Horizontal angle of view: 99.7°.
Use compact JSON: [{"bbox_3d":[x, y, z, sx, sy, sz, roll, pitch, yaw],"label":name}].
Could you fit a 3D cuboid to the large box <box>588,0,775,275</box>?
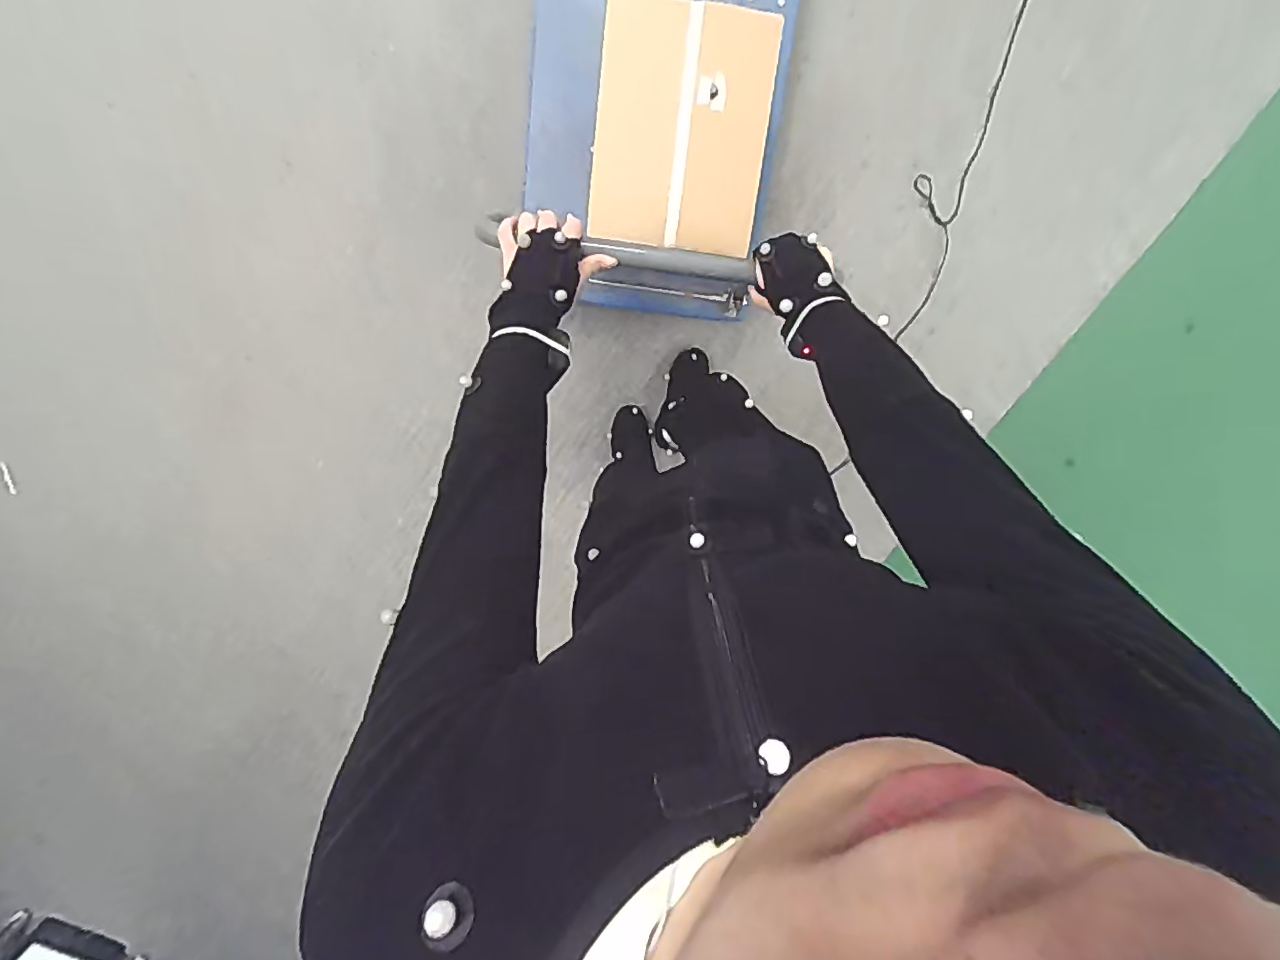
[{"bbox_3d":[0.067,-0.678,1.146,0.320,0.320,0.408,6,103,-5],"label":"large box"}]
